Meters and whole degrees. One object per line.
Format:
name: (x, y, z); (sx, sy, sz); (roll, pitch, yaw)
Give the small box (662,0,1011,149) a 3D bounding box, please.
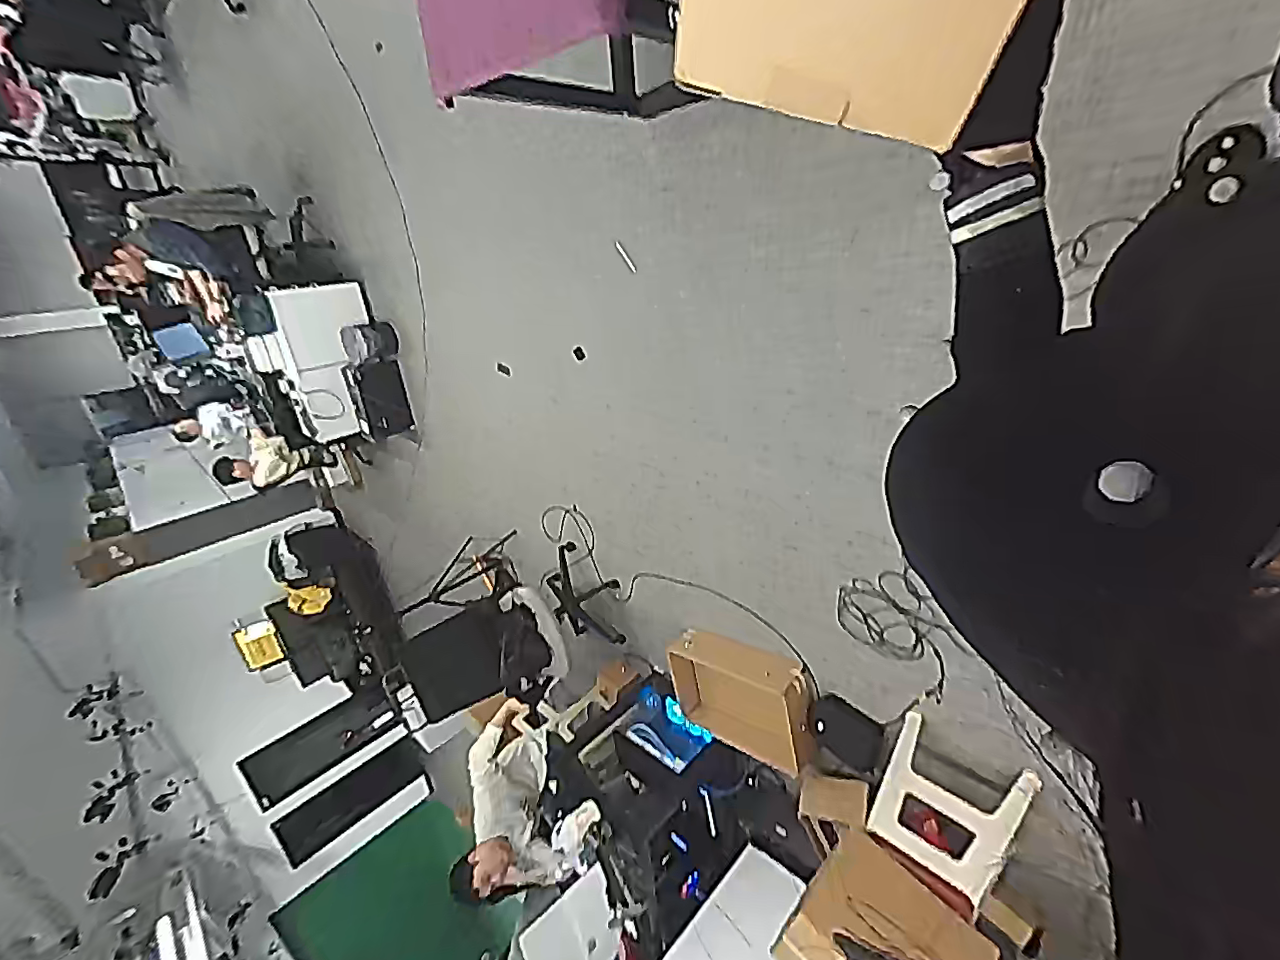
small box: (0.121, -0.310, 0.273); (0.168, 0.179, 0.176); (23, 150, 12)
